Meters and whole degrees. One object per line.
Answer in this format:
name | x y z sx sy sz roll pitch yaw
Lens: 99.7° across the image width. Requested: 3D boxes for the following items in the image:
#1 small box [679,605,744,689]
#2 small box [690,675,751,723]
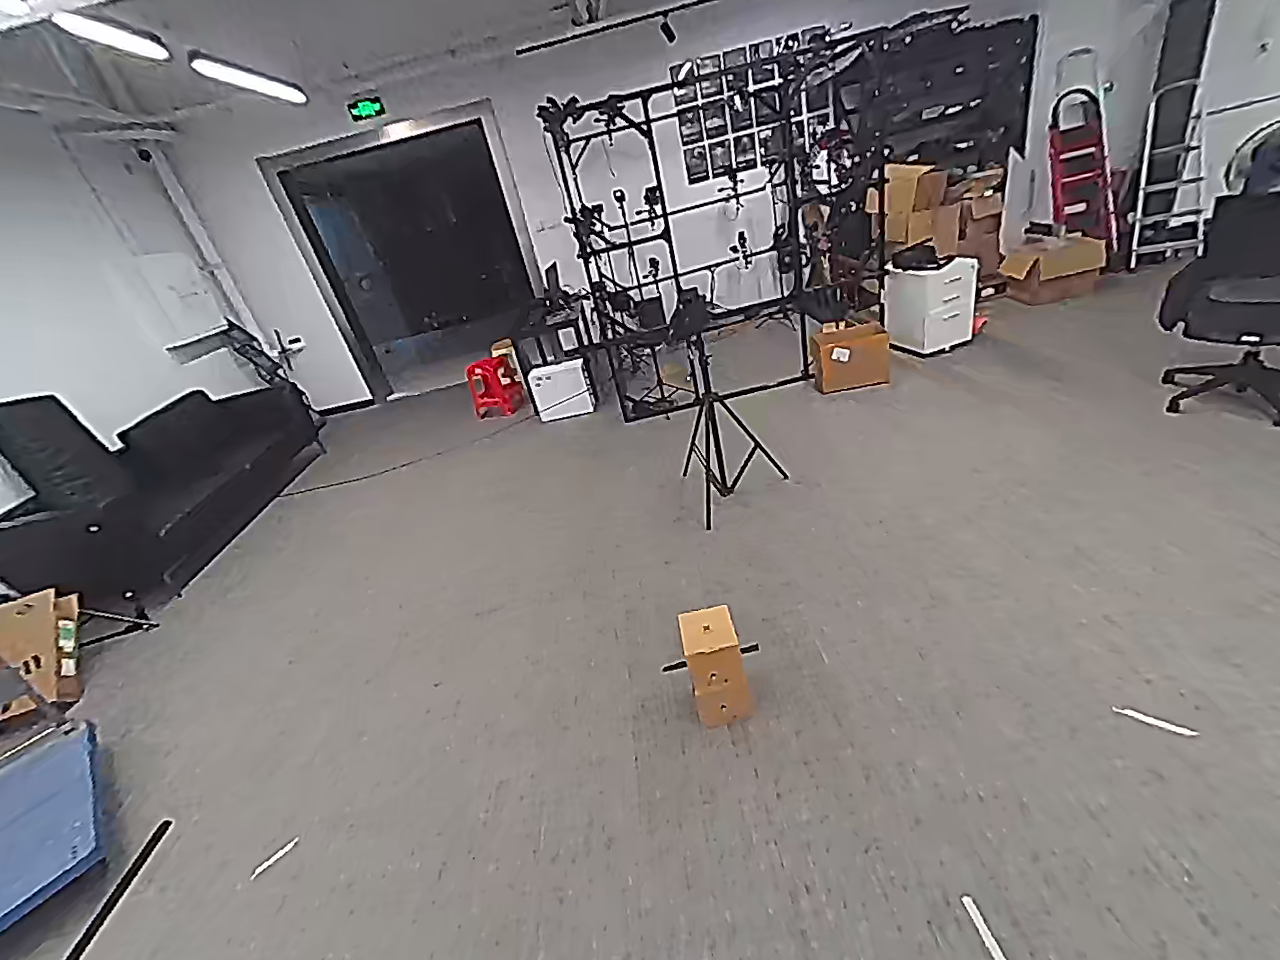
small box | 0.225 0.529 1.714 0.168 0.176 0.179 -14 29 3
small box | 0.259 0.673 1.783 0.168 0.176 0.179 -14 28 1
